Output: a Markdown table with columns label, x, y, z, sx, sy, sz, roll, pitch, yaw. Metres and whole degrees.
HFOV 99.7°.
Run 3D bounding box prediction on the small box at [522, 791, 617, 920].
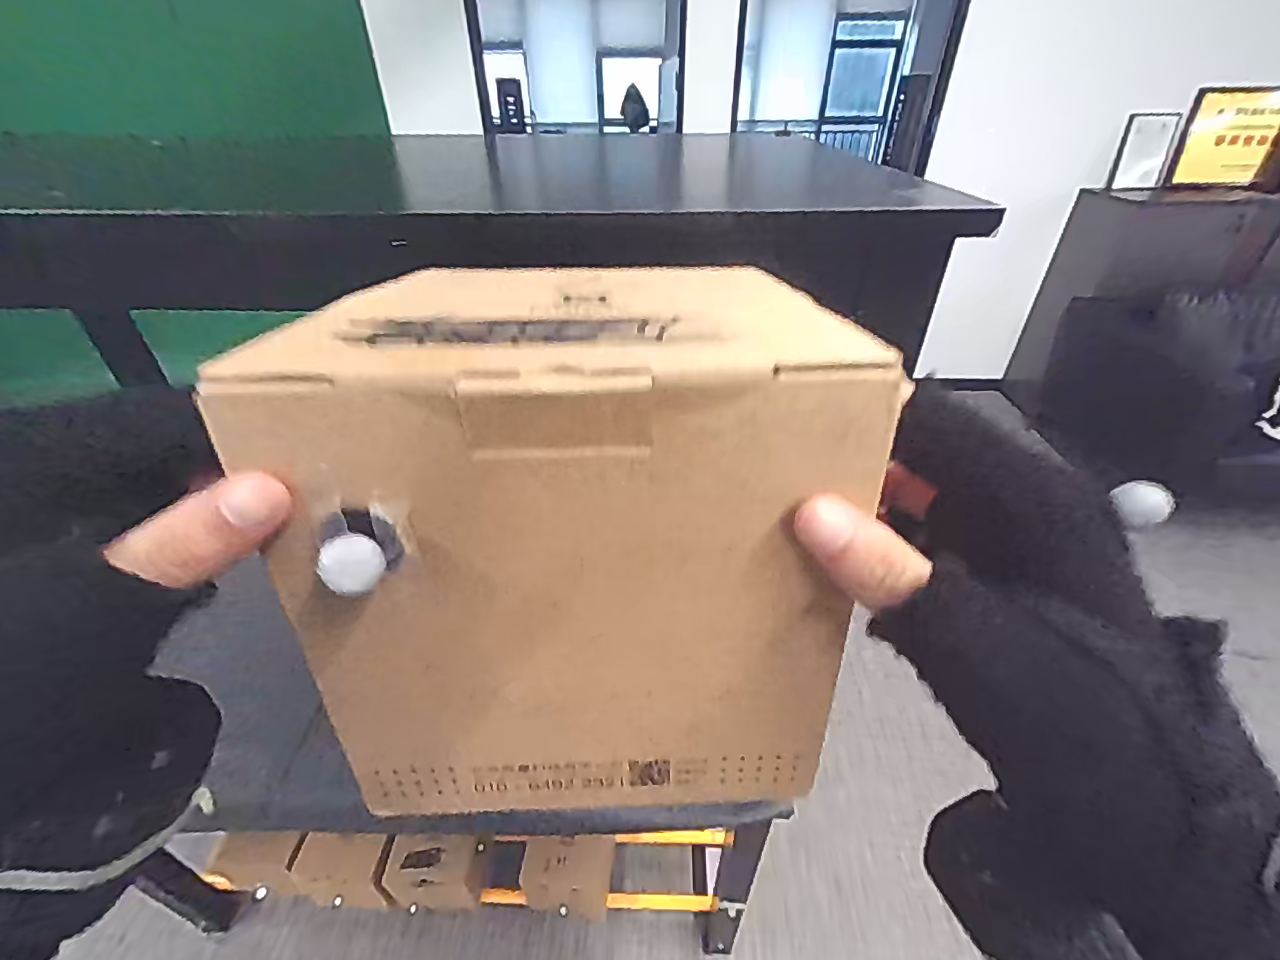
| label | x | y | z | sx | sy | sz | roll | pitch | yaw |
| --- | --- | --- | --- | --- | --- | --- | --- | --- | --- |
| small box | -0.144 | 0.812 | 1.172 | 0.168 | 0.176 | 0.179 | 3 | 38 | 6 |
